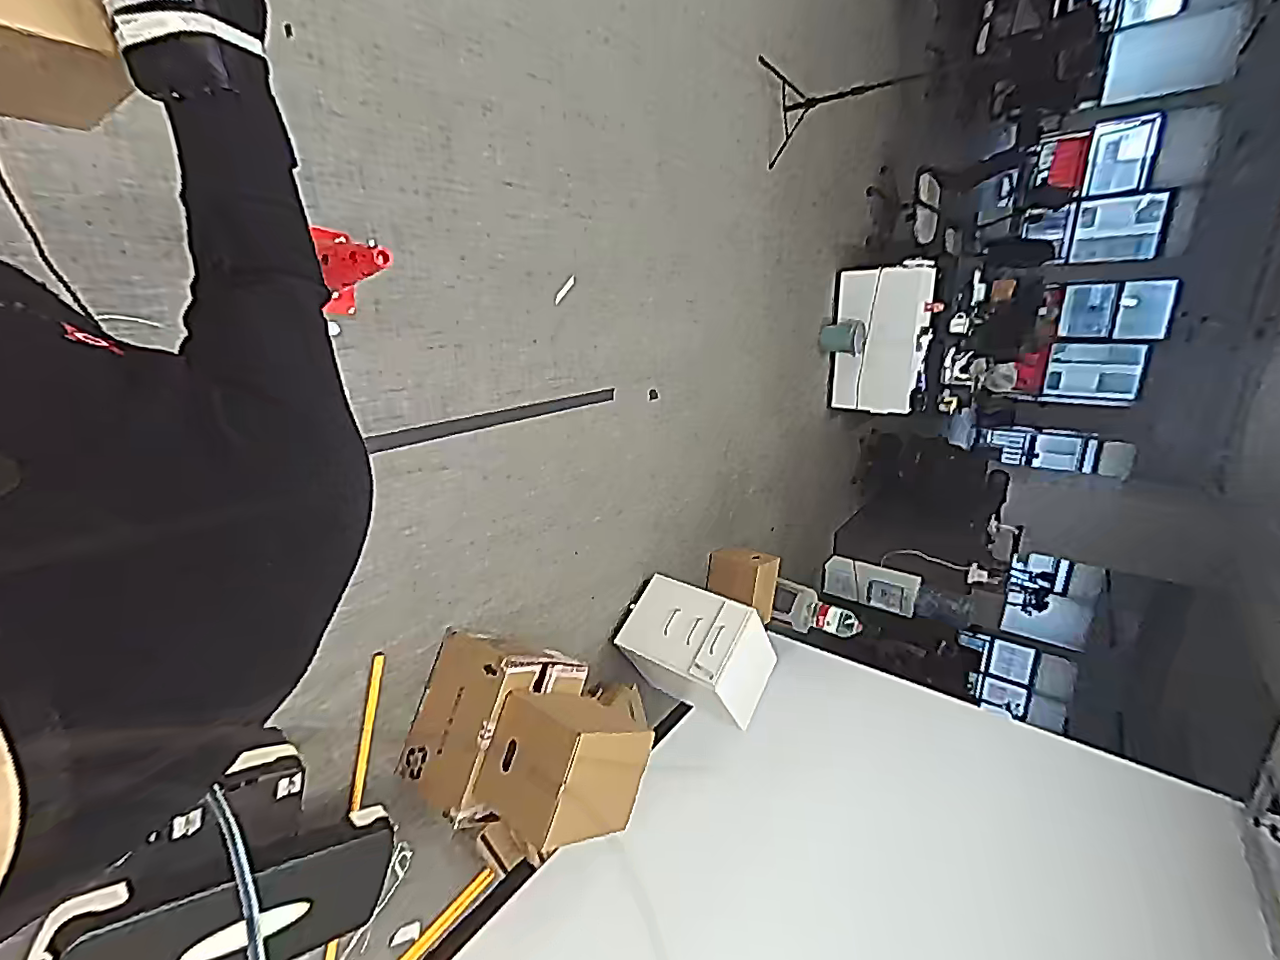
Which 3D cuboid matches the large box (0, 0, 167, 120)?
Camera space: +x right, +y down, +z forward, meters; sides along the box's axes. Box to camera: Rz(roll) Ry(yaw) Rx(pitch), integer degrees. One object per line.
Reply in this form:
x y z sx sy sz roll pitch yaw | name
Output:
-0.552 -0.418 0.256 0.408 0.320 0.320 -19 120 -48 | large box

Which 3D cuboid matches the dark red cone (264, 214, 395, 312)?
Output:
-0.655 -0.485 1.198 0.201 0.394 0.202 -13 110 -50 | dark red cone
